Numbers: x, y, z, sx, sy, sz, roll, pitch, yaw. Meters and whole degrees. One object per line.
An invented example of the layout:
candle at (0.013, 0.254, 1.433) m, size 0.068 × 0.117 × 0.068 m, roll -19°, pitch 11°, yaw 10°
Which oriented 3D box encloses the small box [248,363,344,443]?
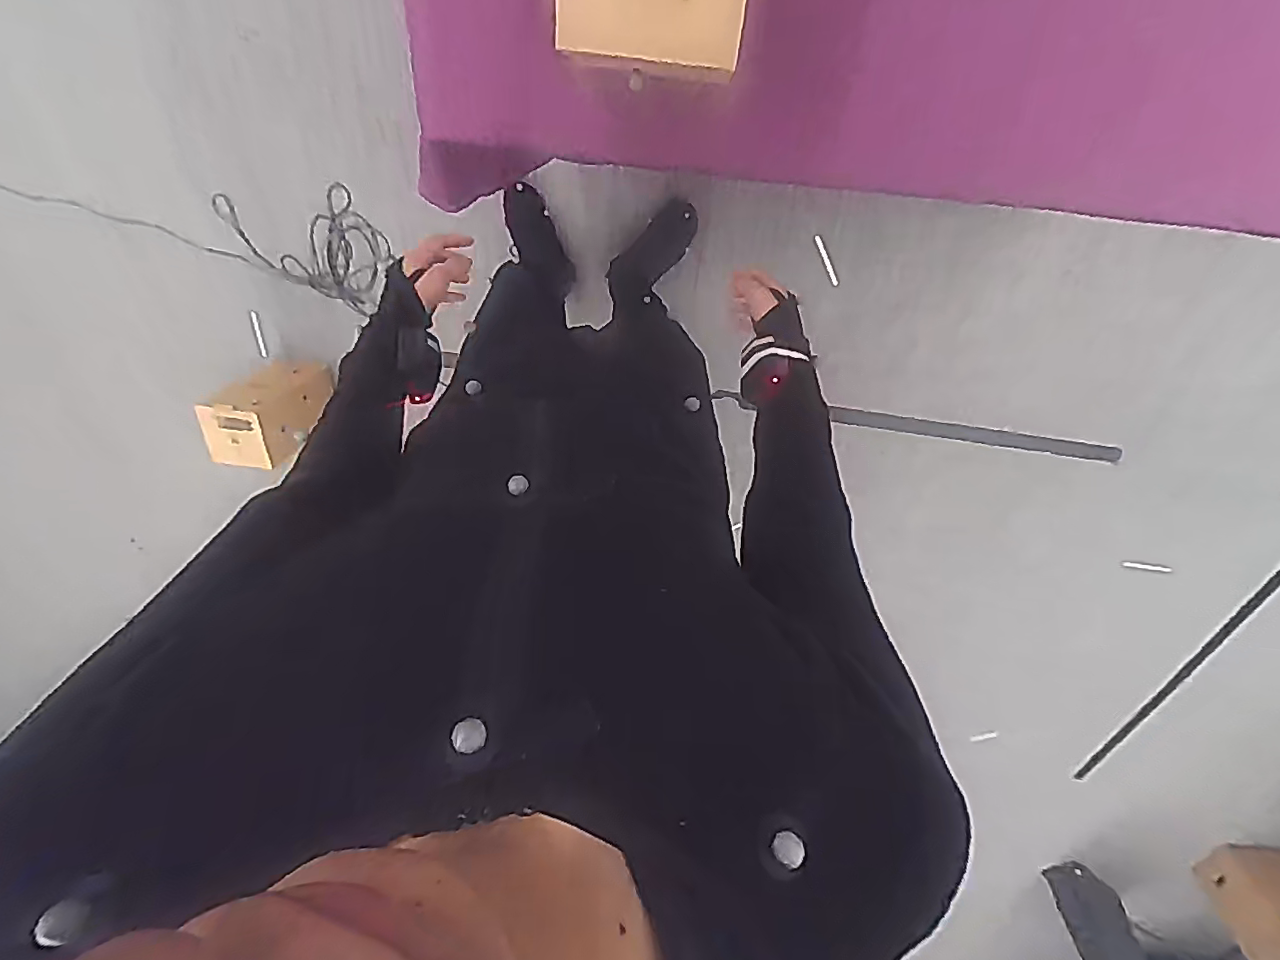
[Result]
small box at (-1.030, -0.234, 1.639) m, size 0.168 × 0.176 × 0.179 m, roll 7°, pitch 123°, yaw 2°

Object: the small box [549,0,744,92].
small box at (0.016, -0.480, 0.500) m, size 0.168 × 0.176 × 0.179 m, roll 8°, pitch 123°, yaw 1°
